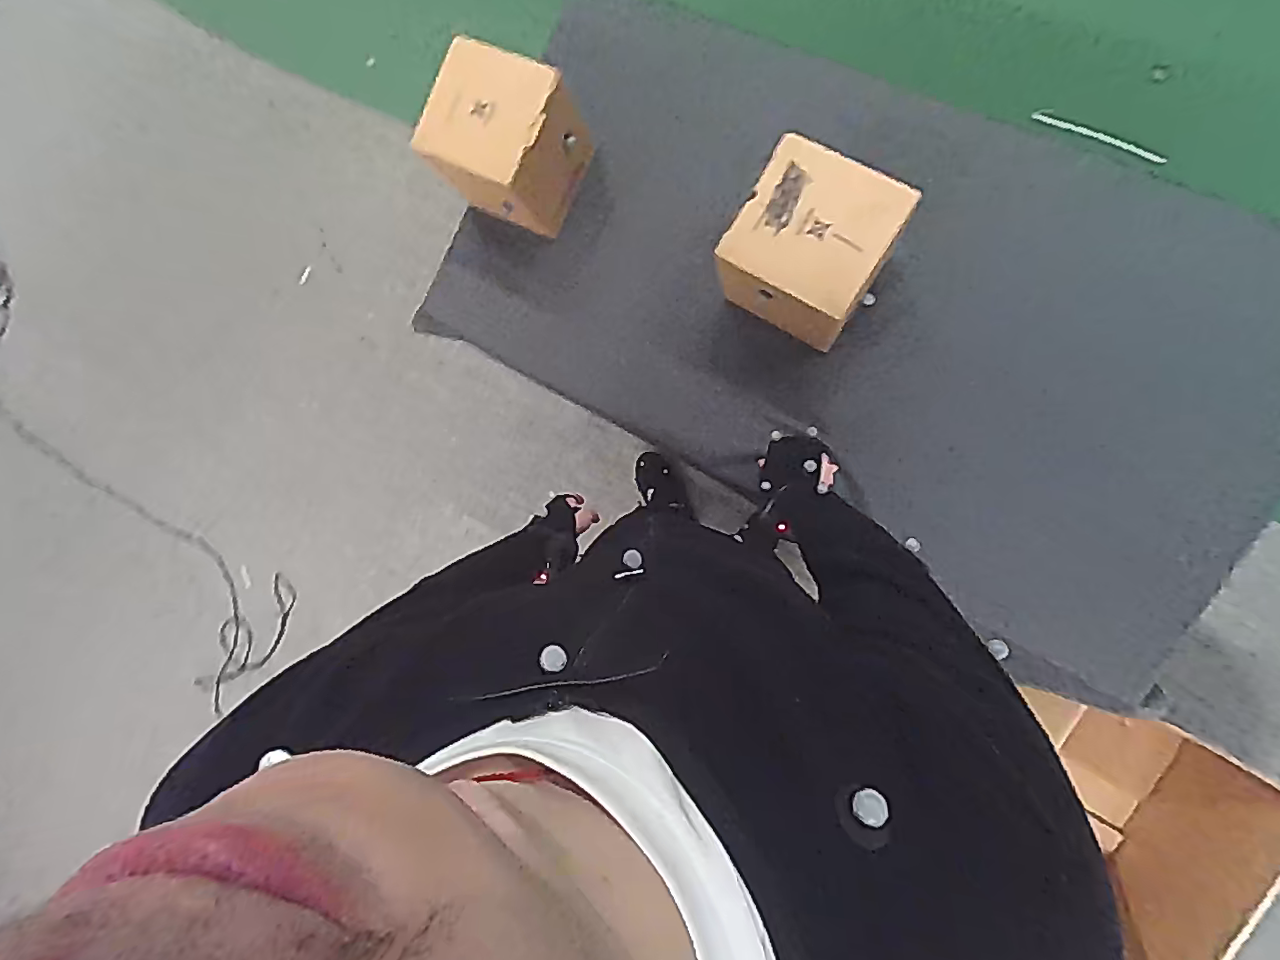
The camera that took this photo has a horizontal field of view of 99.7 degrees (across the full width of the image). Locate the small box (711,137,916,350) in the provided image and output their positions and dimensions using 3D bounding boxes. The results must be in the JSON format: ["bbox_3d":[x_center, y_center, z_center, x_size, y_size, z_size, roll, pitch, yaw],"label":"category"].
[{"bbox_3d":[0.218,-0.293,0.712,0.179,0.176,0.168,37,99,11],"label":"small box"}]

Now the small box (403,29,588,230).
[{"bbox_3d":[-0.201,-0.502,0.801,0.179,0.176,0.168,27,95,13],"label":"small box"}]
